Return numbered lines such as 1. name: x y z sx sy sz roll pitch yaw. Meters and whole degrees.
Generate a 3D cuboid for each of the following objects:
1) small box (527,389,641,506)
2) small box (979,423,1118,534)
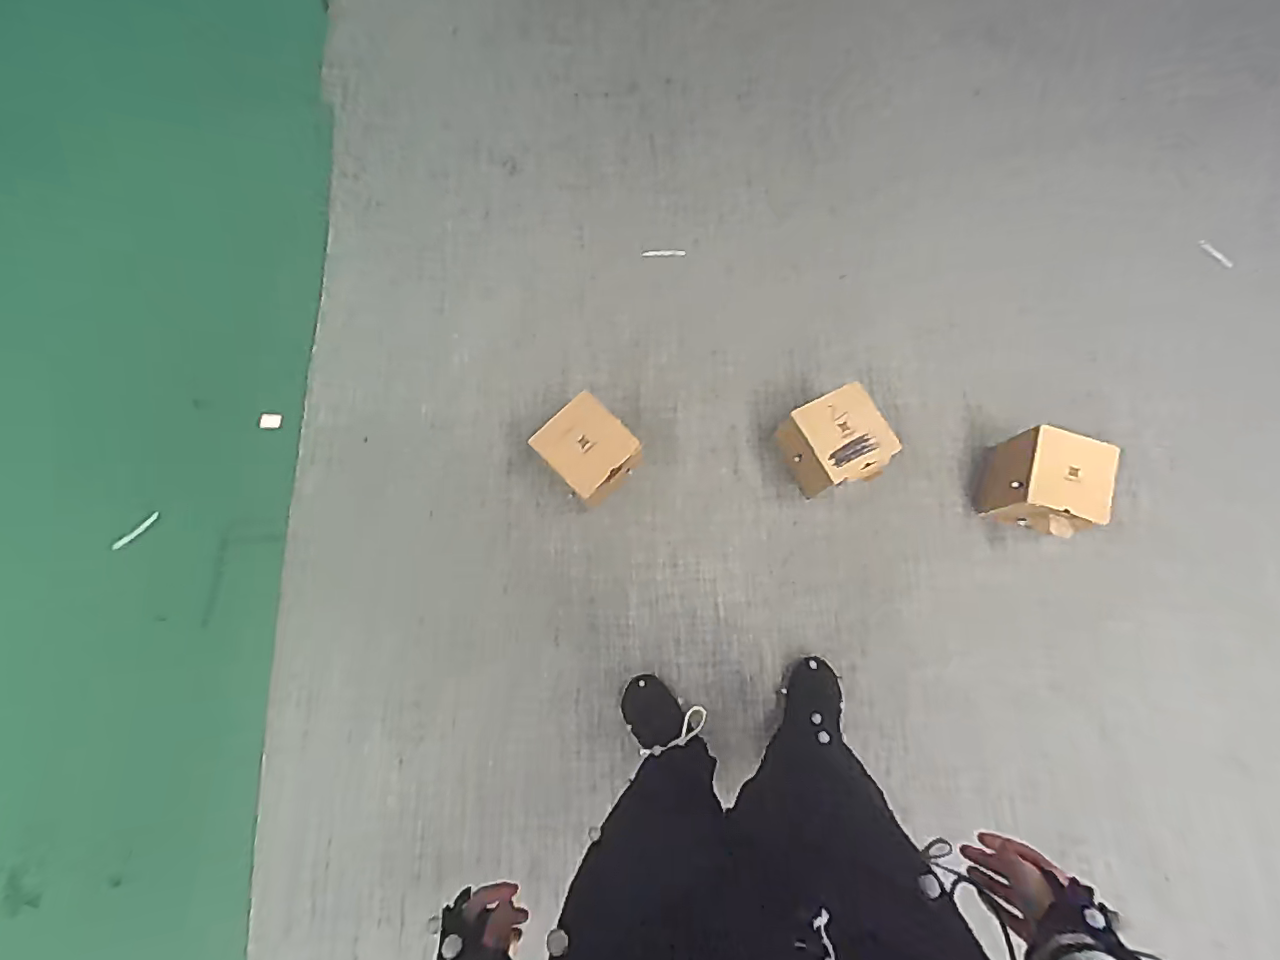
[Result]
1. small box: -0.114 -0.060 1.177 0.179 0.176 0.168 44 80 10
2. small box: 0.873 0.004 1.170 0.168 0.176 0.179 18 78 3
